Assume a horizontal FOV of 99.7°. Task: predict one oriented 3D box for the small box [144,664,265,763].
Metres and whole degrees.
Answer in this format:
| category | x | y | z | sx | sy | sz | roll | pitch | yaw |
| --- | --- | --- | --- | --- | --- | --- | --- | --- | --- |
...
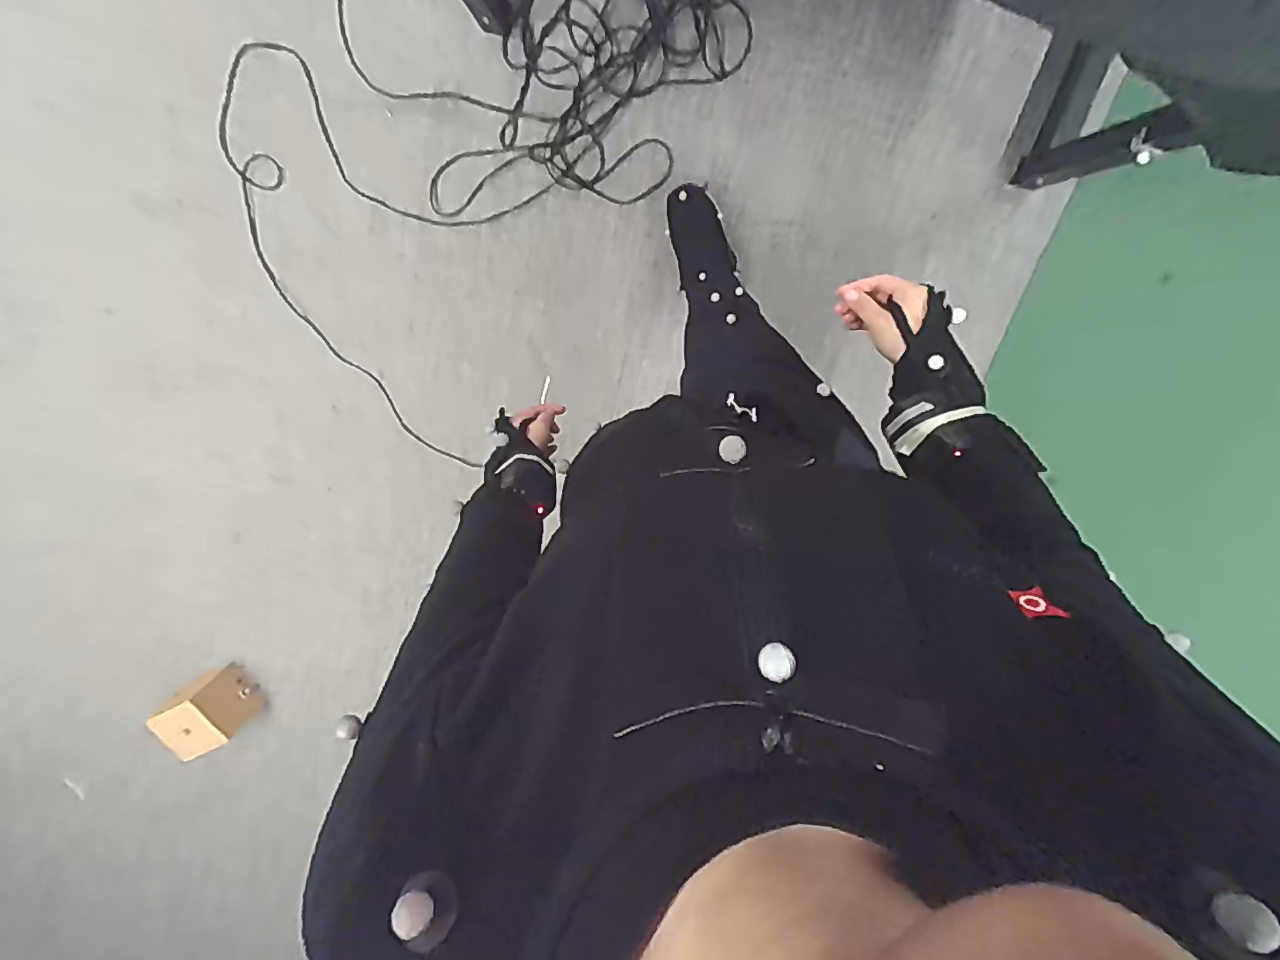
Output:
| category | x | y | z | sx | sy | sz | roll | pitch | yaw |
| --- | --- | --- | --- | --- | --- | --- | --- | --- | --- |
| small box | -1.255 | 0.674 | 1.572 | 0.179 | 0.176 | 0.168 | -27 | 108 | 10 |
